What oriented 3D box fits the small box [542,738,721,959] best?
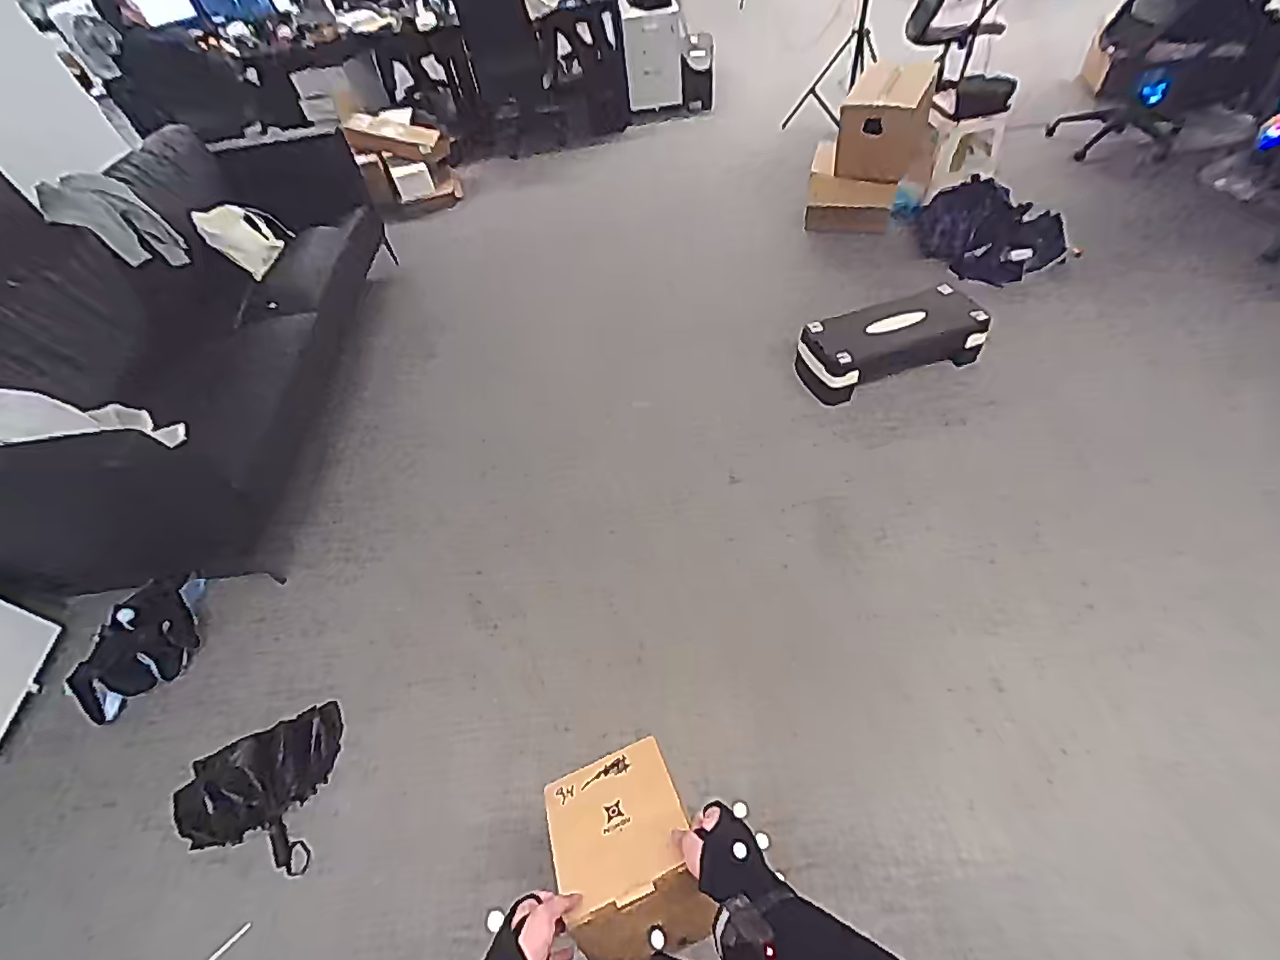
[{"bbox_3d":[-0.011,0.487,0.702,0.168,0.176,0.179,-22,29,-7],"label":"small box"}]
